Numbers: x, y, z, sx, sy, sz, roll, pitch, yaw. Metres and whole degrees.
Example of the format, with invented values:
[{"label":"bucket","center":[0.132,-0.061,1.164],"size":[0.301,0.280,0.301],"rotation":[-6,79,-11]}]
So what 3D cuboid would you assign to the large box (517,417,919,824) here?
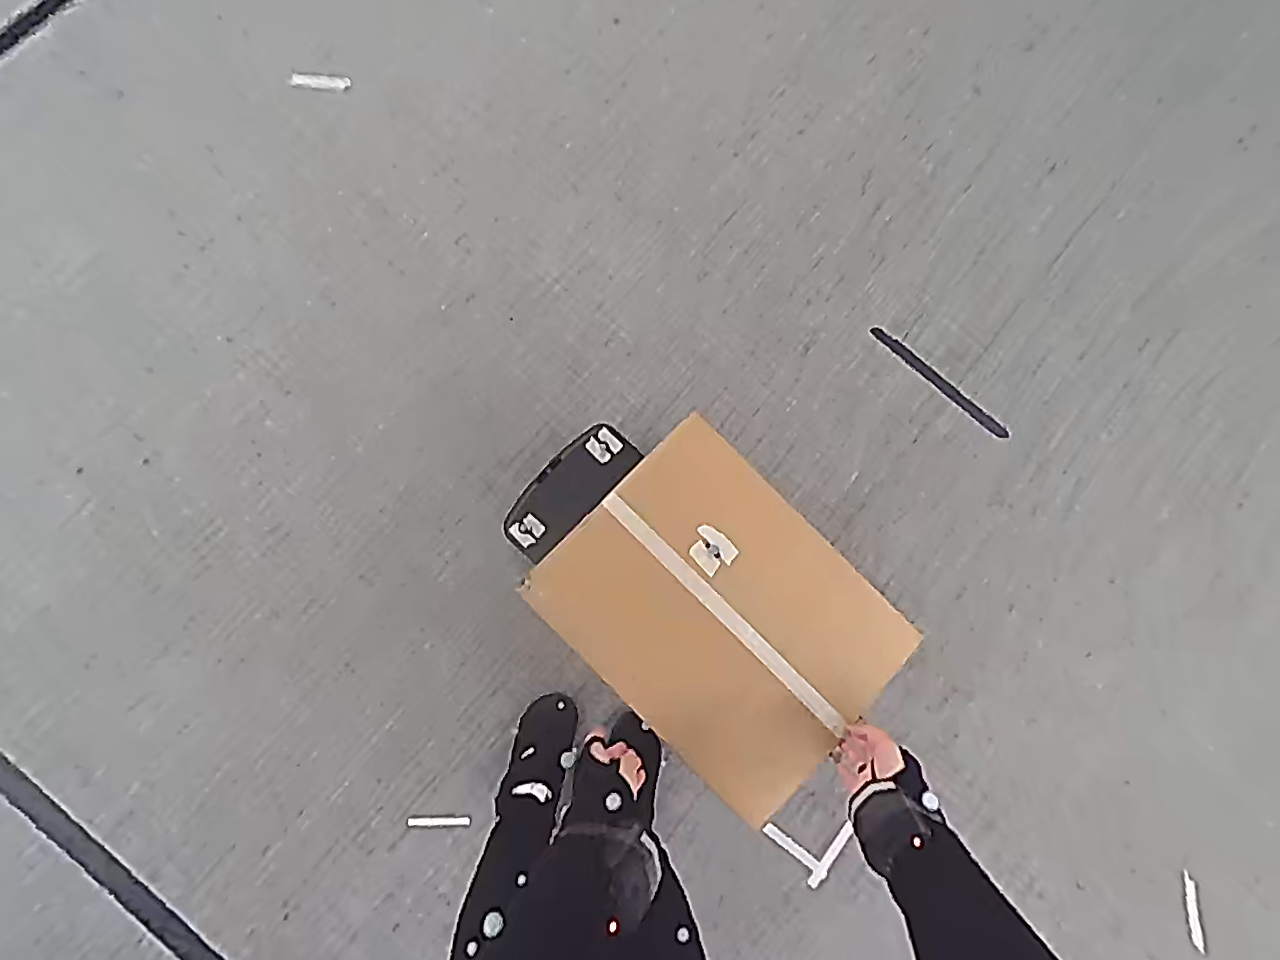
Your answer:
[{"label":"large box","center":[0.092,0.179,0.800],"size":[0.408,0.320,0.320],"rotation":[44,82,3]}]
